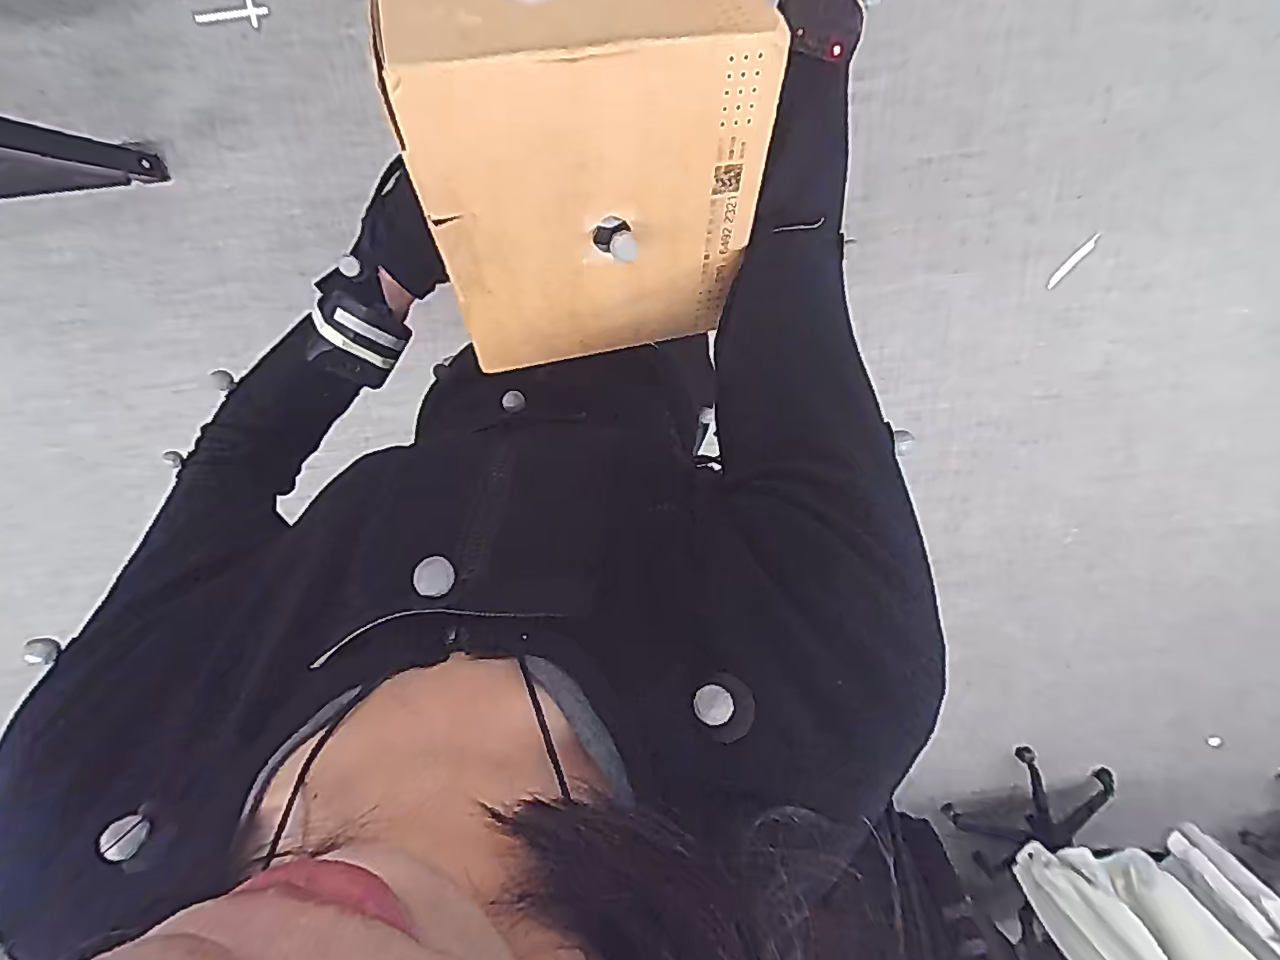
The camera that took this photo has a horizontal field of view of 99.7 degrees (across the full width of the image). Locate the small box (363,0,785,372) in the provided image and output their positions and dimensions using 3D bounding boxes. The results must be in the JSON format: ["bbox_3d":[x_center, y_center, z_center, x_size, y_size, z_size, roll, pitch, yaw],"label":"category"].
[{"bbox_3d":[-0.039,-0.194,0.310,0.176,0.179,0.168,-13,150,-11],"label":"small box"}]
